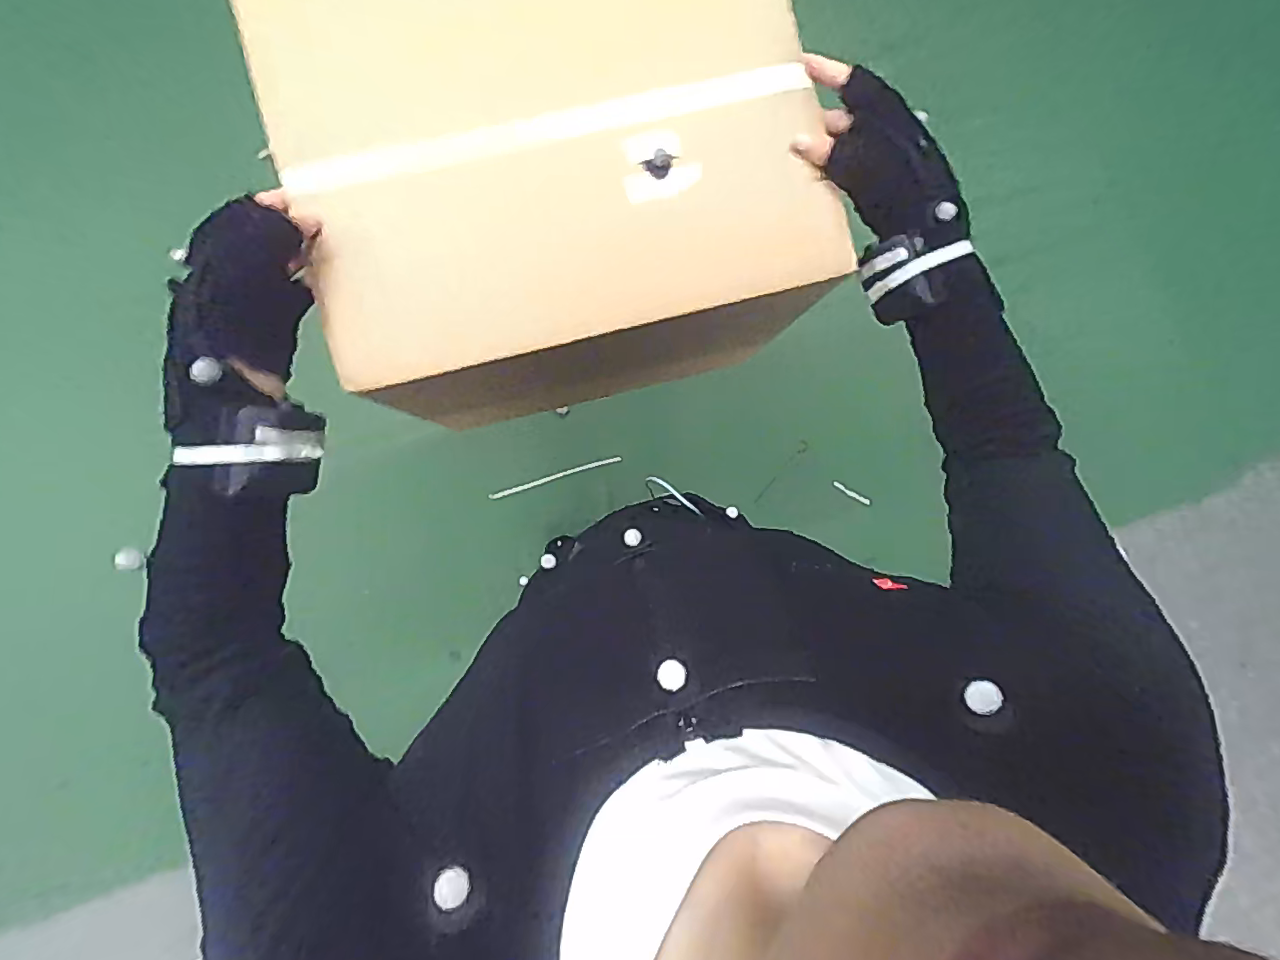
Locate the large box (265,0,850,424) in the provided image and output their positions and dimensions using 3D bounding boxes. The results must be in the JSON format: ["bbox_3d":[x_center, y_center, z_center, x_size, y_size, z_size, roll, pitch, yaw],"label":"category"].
[{"bbox_3d":[-0.068,-0.272,0.571,0.408,0.320,0.320,-15,91,-4],"label":"large box"}]
